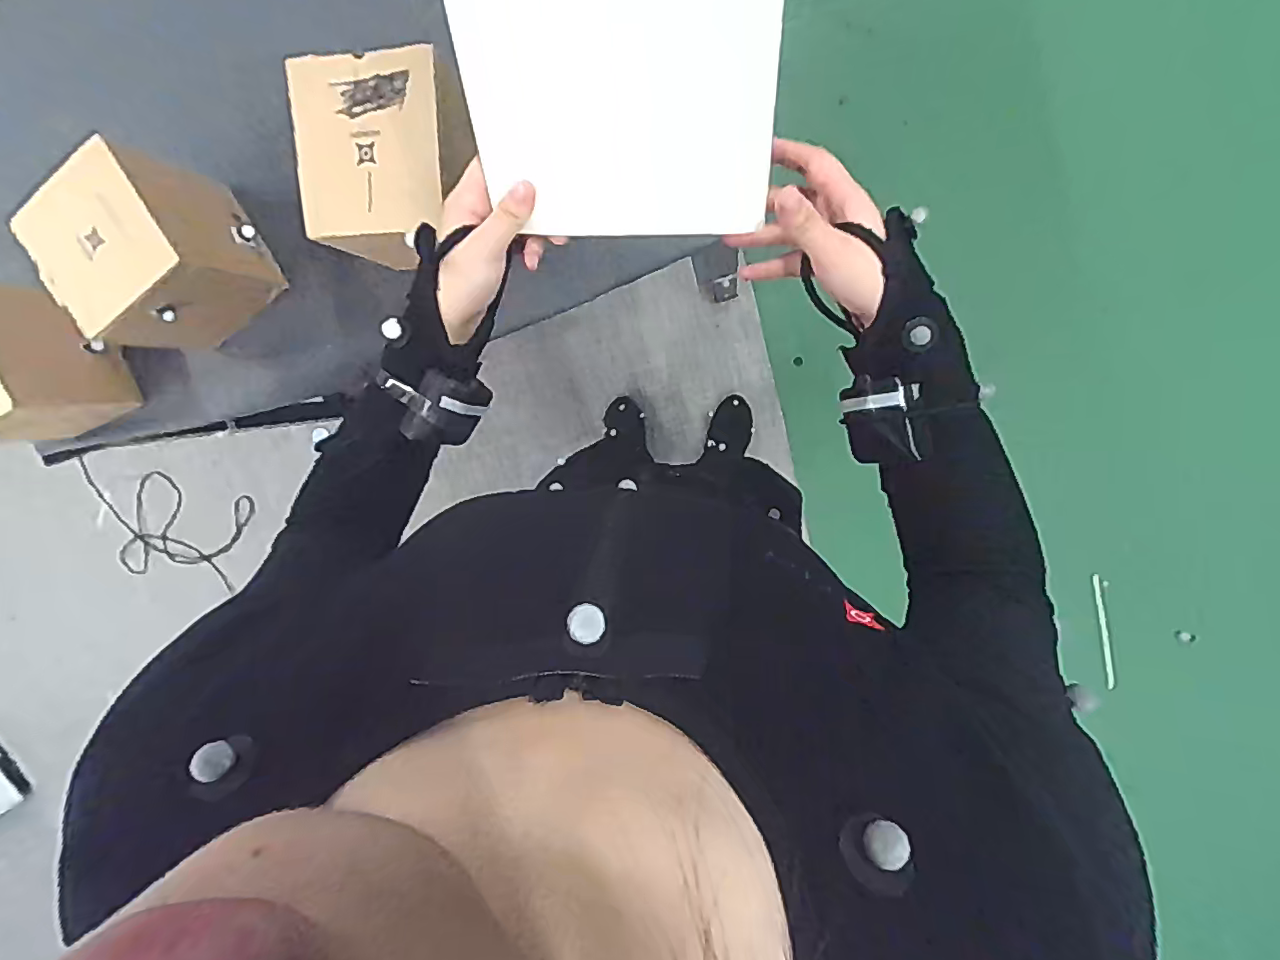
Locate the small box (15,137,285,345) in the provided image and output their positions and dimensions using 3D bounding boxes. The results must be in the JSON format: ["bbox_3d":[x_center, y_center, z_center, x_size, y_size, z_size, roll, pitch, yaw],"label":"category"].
[{"bbox_3d":[-0.630,-0.295,0.717,0.179,0.176,0.168,-31,95,12],"label":"small box"}]

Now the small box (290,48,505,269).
[{"bbox_3d":[-0.271,-0.361,0.642,0.168,0.176,0.179,2,101,10],"label":"small box"}]

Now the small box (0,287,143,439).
[{"bbox_3d":[-0.895,-0.163,0.782,0.168,0.176,0.179,-19,97,12],"label":"small box"}]
